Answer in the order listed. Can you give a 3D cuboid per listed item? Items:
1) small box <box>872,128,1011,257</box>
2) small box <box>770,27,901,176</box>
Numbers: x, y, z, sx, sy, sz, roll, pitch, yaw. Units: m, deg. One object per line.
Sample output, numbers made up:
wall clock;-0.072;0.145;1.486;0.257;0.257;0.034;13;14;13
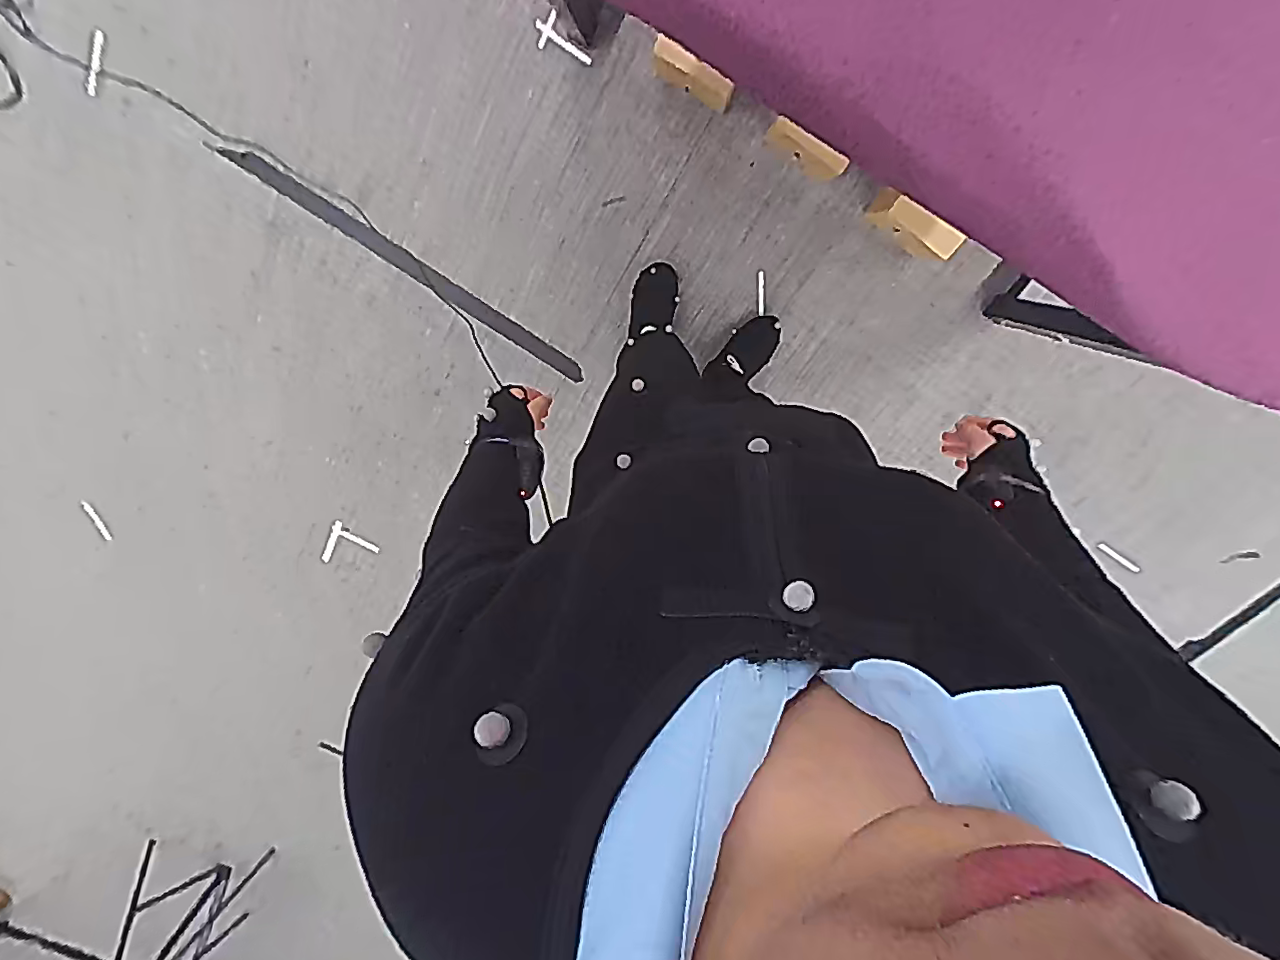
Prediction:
small box;0.625;-0.601;1.154;0.168;0.176;0.179;34;112;-10
small box;0.384;-0.753;1.103;0.168;0.176;0.179;31;112;-10
